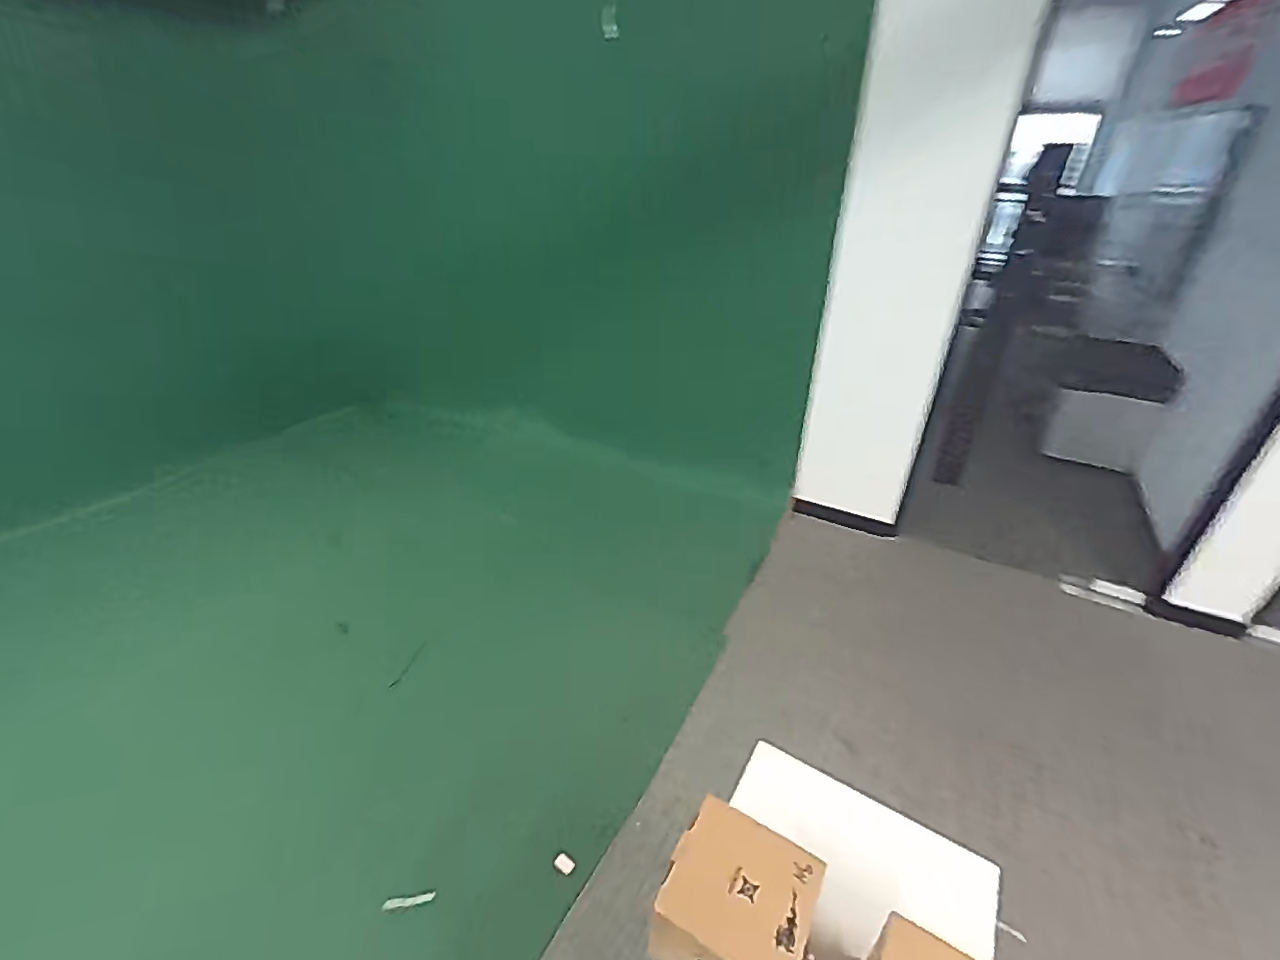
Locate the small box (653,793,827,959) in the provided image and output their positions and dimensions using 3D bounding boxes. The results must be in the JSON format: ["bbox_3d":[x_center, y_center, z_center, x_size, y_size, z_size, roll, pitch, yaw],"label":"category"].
[{"bbox_3d":[0.128,0.579,0.727,0.179,0.176,0.168,19,37,26],"label":"small box"}]
